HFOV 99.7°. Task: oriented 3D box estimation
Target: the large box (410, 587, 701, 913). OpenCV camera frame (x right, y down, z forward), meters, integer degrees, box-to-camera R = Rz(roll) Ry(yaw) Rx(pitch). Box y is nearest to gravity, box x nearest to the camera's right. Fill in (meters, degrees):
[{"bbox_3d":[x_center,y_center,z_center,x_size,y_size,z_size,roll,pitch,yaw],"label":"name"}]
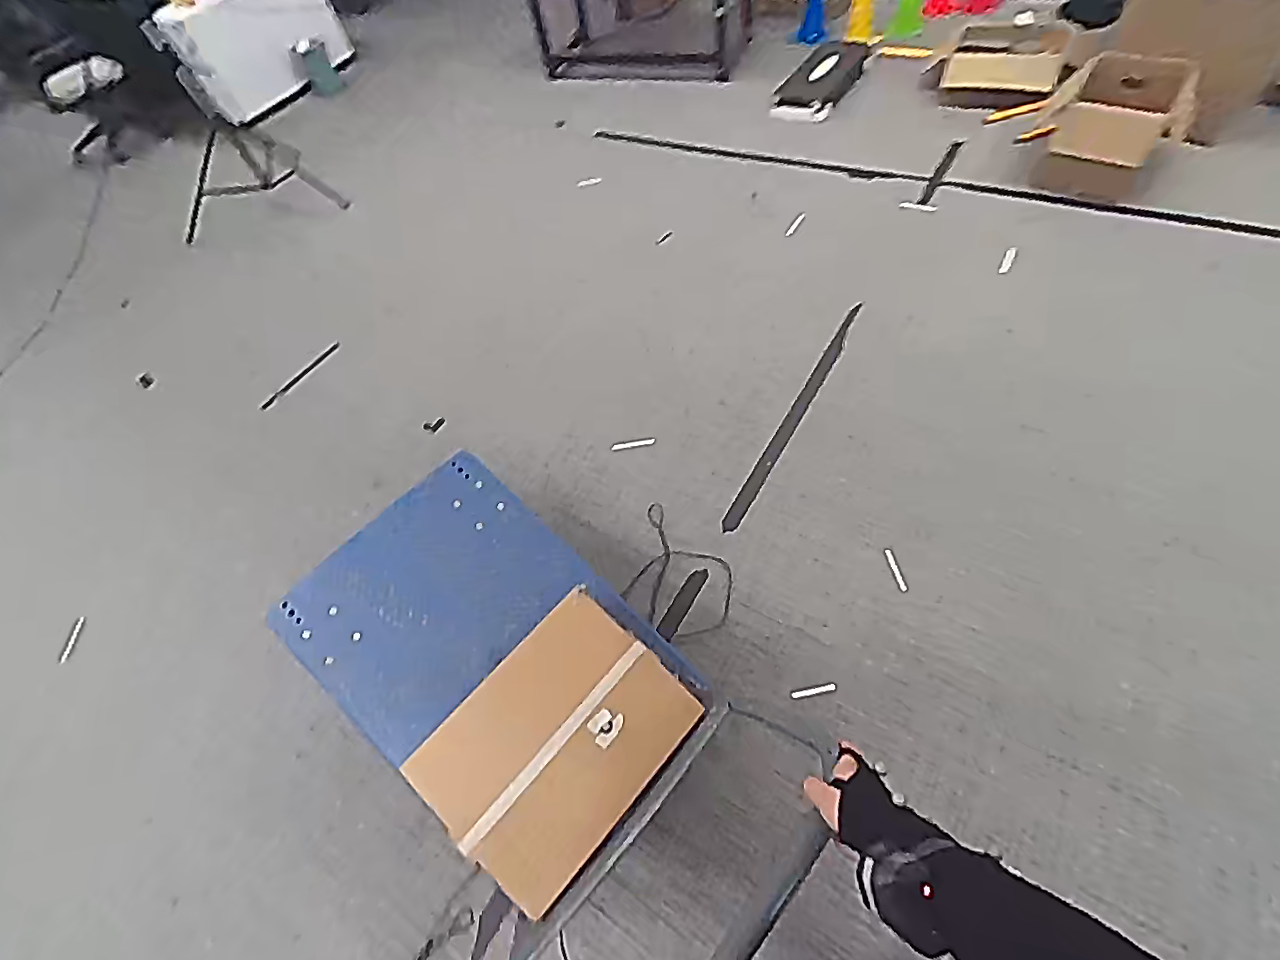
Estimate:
[{"bbox_3d":[-0.147,0.481,1.043,0.320,0.320,0.408,42,70,9],"label":"large box"}]
